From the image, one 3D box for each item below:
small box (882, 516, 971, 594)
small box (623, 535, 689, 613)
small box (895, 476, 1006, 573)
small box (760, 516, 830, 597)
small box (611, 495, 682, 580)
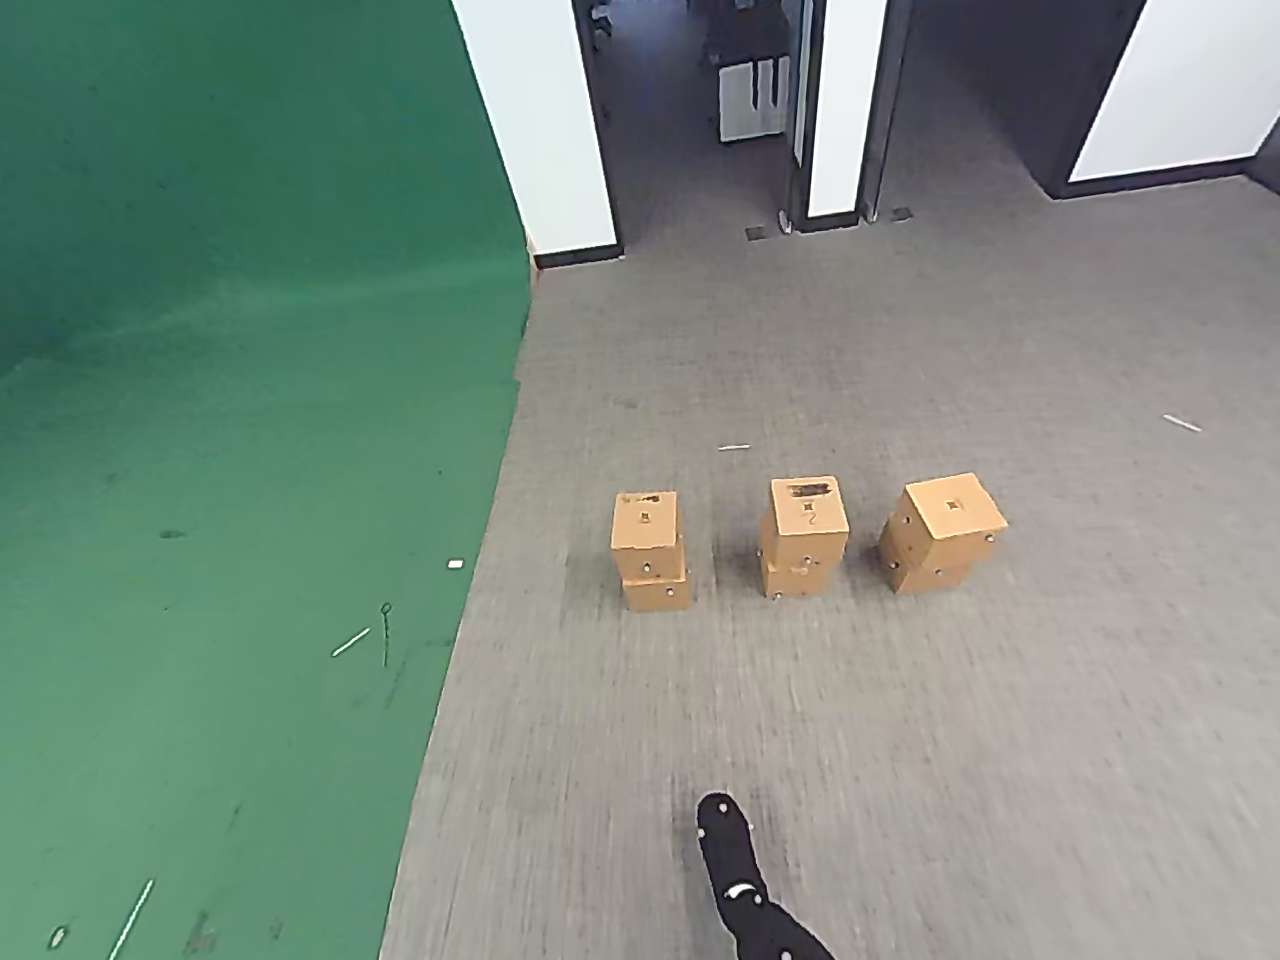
[{"bbox_3d":[0.785,0.204,1.494,0.179,0.176,0.168,-7,52,5],"label":"small box"},{"bbox_3d":[0.052,0.276,1.580,0.179,0.176,0.168,-5,50,6],"label":"small box"},{"bbox_3d":[0.764,0.116,1.359,0.179,0.176,0.168,-11,51,2],"label":"small box"},{"bbox_3d":[0.436,0.225,1.546,0.168,0.176,0.179,-5,50,7],"label":"small box"},{"bbox_3d":[0.025,0.160,1.466,0.168,0.176,0.179,-2,52,9],"label":"small box"}]
